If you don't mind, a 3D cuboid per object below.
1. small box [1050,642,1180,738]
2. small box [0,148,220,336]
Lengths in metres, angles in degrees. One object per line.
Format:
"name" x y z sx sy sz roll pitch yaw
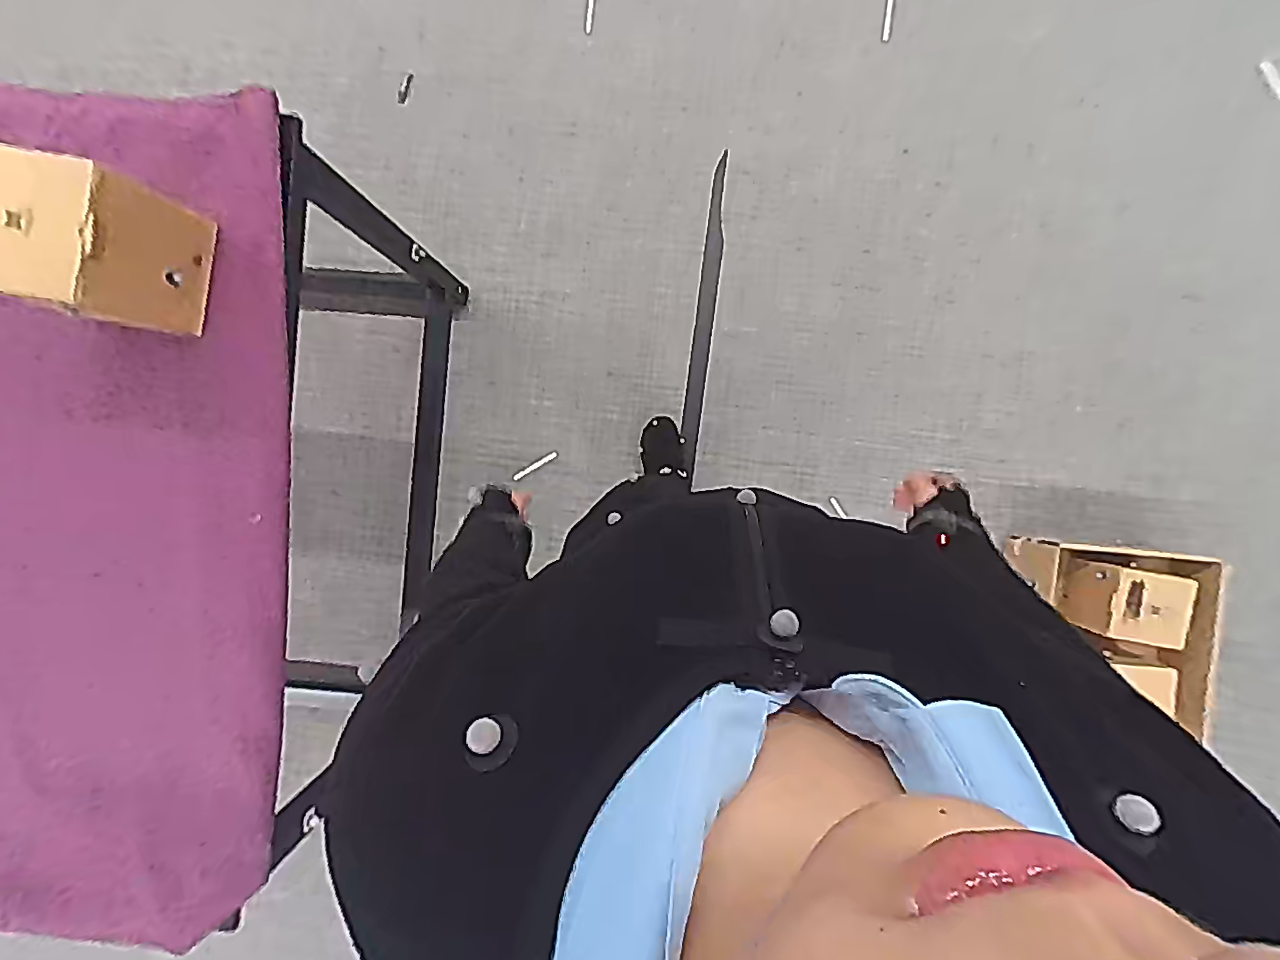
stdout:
"small box" 1.159 0.508 1.334 0.179 0.176 0.168 4 92 3
"small box" -0.708 -0.297 0.706 0.179 0.176 0.168 10 92 3
